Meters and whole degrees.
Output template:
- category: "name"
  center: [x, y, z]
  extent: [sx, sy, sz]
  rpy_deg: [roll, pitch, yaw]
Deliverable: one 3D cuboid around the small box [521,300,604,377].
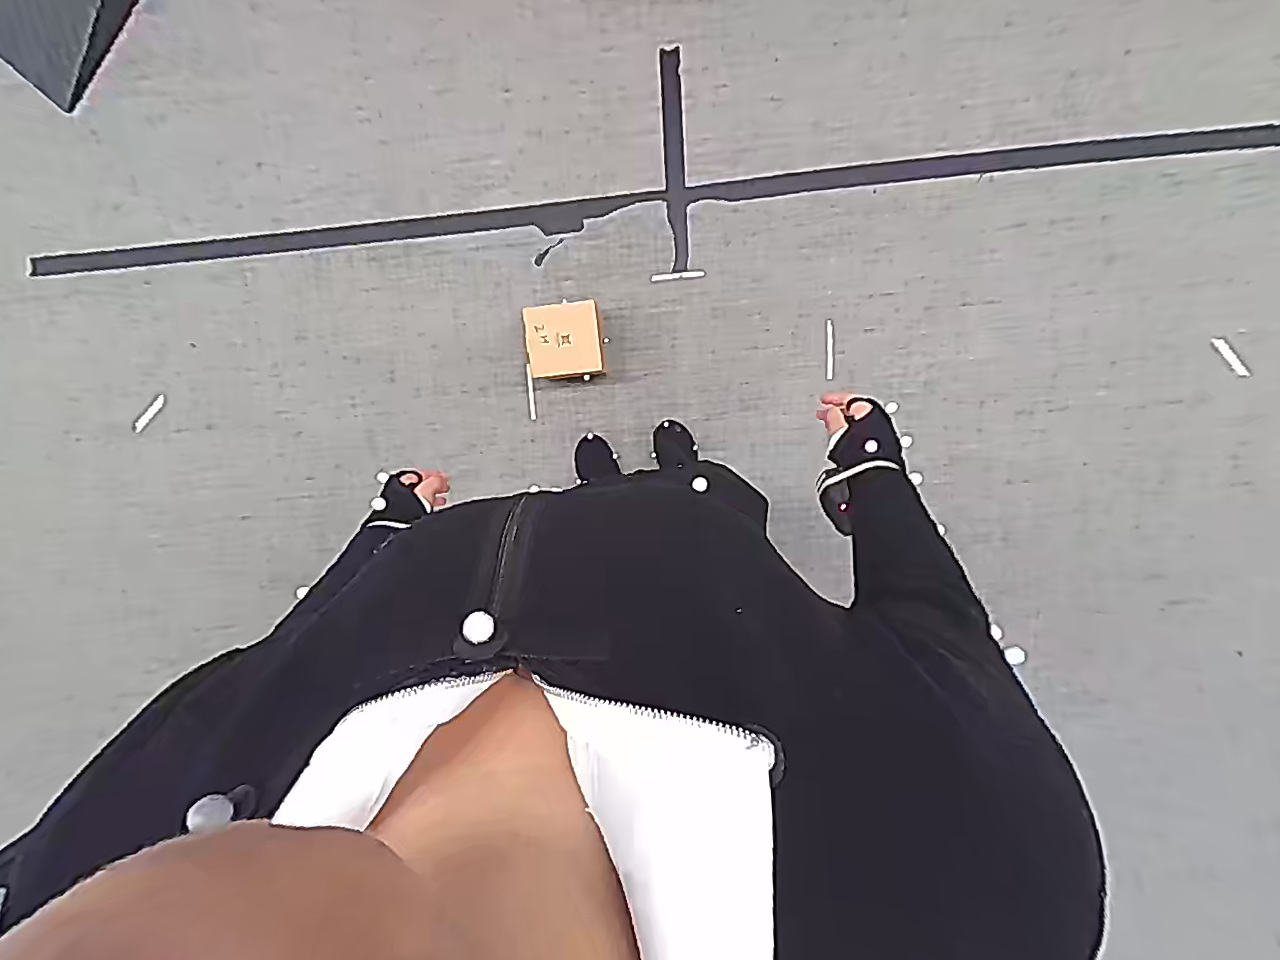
- category: "small box"
  center: [-0.186, -0.353, 1.365]
  extent: [0.179, 0.176, 0.168]
  rpy_deg: [-5, 99, 3]
